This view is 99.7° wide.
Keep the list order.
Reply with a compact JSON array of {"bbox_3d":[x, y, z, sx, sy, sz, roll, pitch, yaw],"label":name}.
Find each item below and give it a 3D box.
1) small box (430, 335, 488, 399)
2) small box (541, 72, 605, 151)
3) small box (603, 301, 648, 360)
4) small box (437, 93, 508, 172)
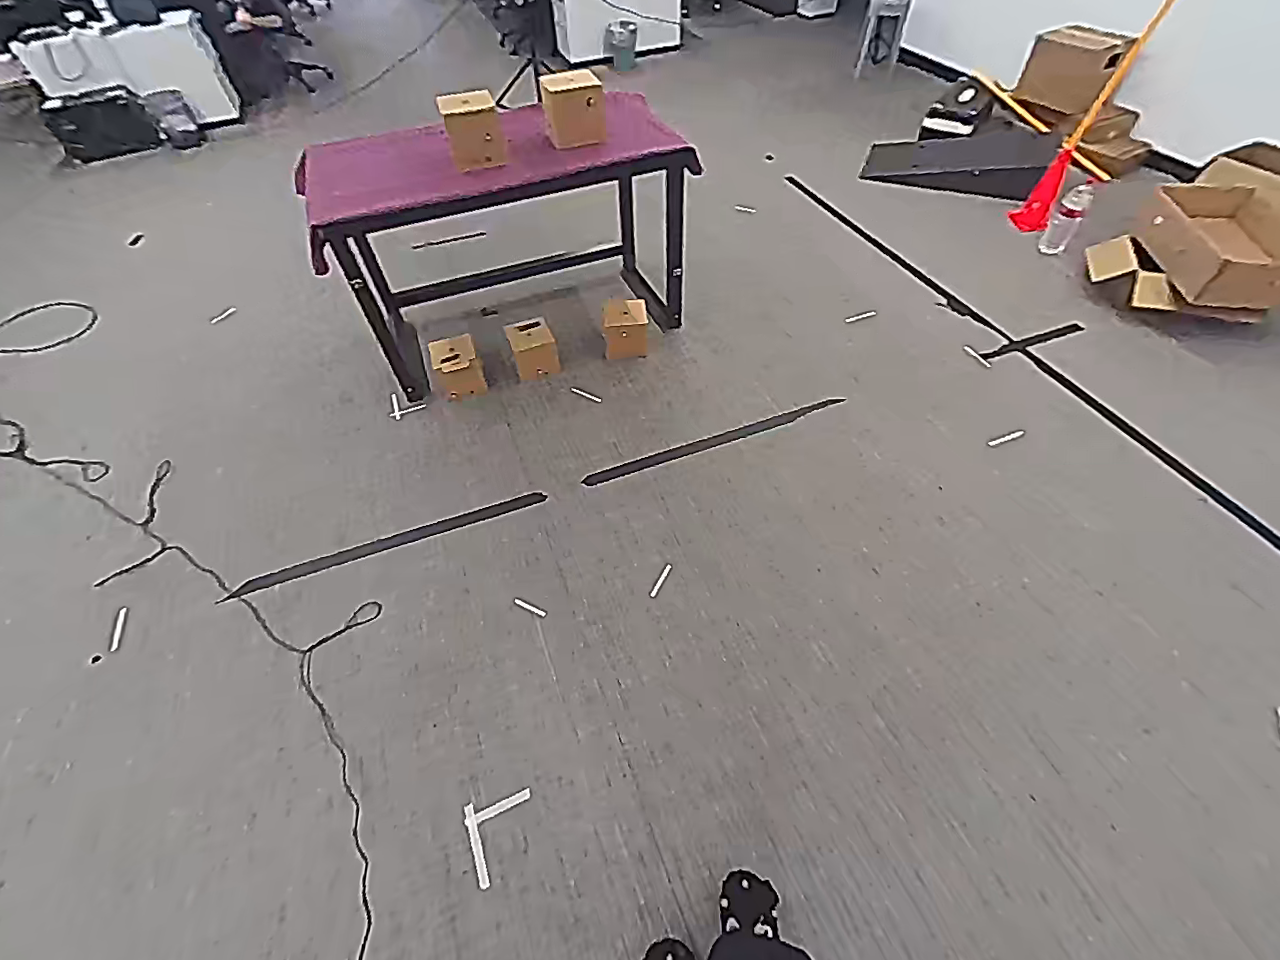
[{"bbox_3d":[-0.716,-0.439,2.142,0.168,0.176,0.179,-18,52,-11],"label":"small box"},{"bbox_3d":[-0.220,-1.236,1.815,0.179,0.176,0.168,-17,53,-10],"label":"small box"},{"bbox_3d":[-0.058,-0.620,2.256,0.179,0.176,0.168,-6,53,0],"label":"small box"},{"bbox_3d":[-0.533,-1.107,1.731,0.168,0.176,0.179,-17,51,-12],"label":"small box"}]
